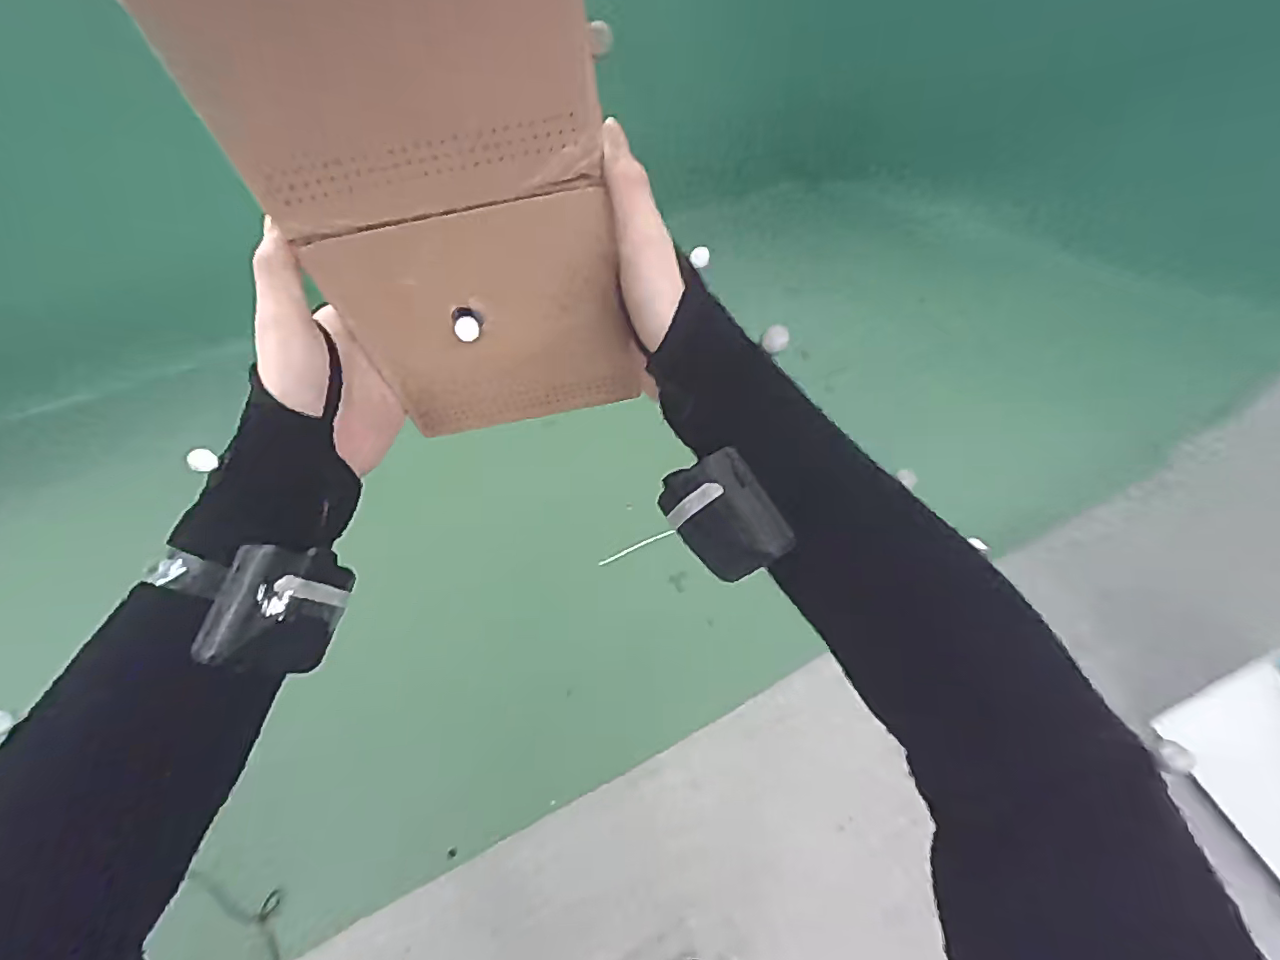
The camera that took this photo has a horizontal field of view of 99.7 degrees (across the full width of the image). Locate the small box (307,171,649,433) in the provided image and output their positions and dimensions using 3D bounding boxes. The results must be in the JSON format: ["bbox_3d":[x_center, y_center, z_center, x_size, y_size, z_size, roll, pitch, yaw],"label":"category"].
[{"bbox_3d":[-0.099,-0.155,0.405,0.179,0.176,0.168,-11,55,2],"label":"small box"}]

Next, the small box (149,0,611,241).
[{"bbox_3d":[-0.122,-0.247,0.272,0.179,0.176,0.168,-12,55,0],"label":"small box"}]
